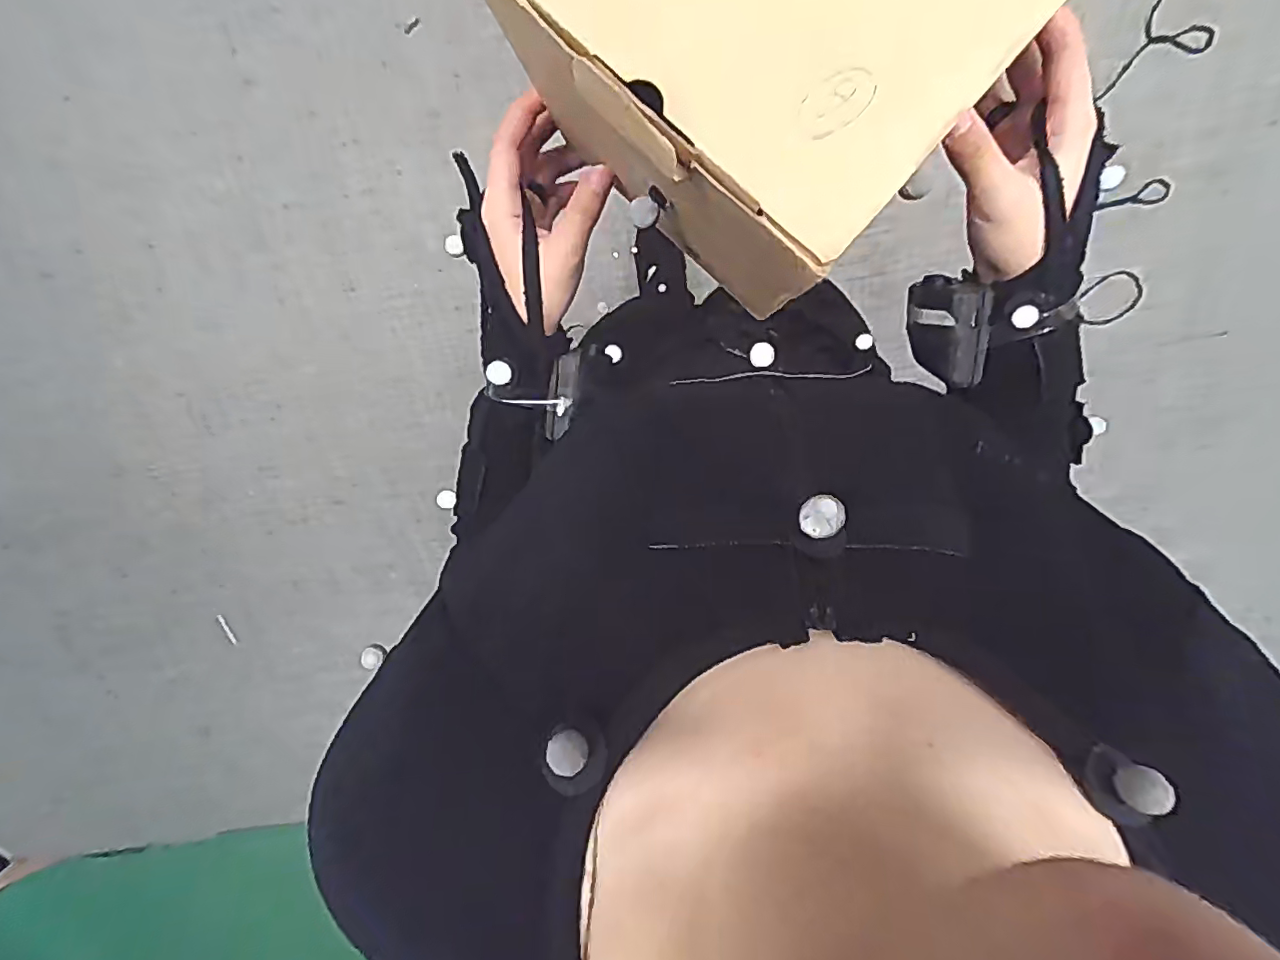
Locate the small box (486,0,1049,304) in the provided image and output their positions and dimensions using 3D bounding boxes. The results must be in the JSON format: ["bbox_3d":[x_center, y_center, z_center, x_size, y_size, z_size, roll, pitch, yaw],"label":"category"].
[{"bbox_3d":[0.064,-0.206,0.252,0.168,0.176,0.179,41,102,-3],"label":"small box"}]
